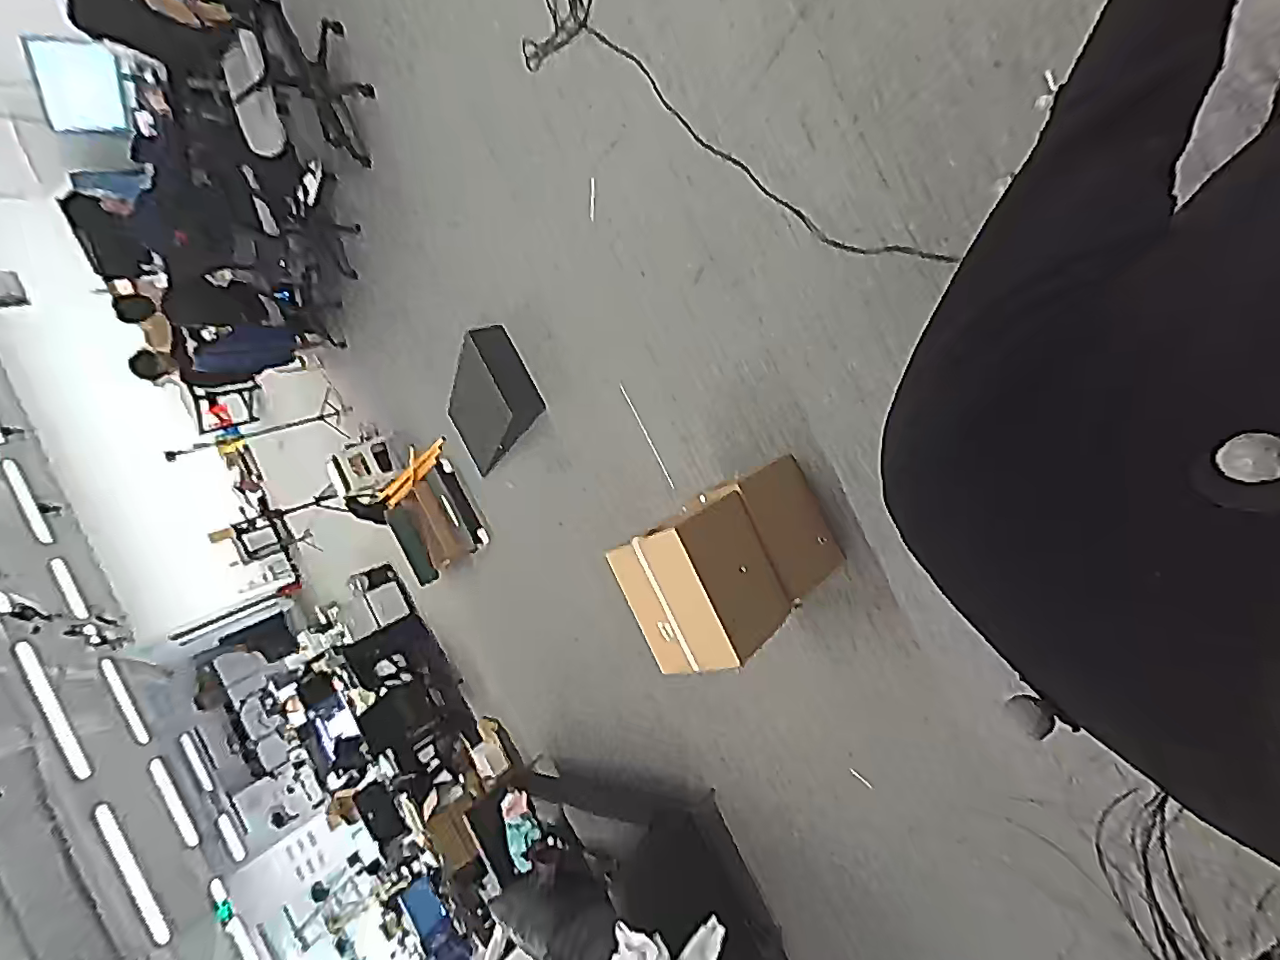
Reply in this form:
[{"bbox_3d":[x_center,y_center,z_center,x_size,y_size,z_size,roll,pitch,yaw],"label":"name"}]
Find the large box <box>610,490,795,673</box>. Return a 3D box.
[{"bbox_3d":[0.187,0.297,1.598,0.320,0.320,0.408,-27,90,46],"label":"large box"}]
